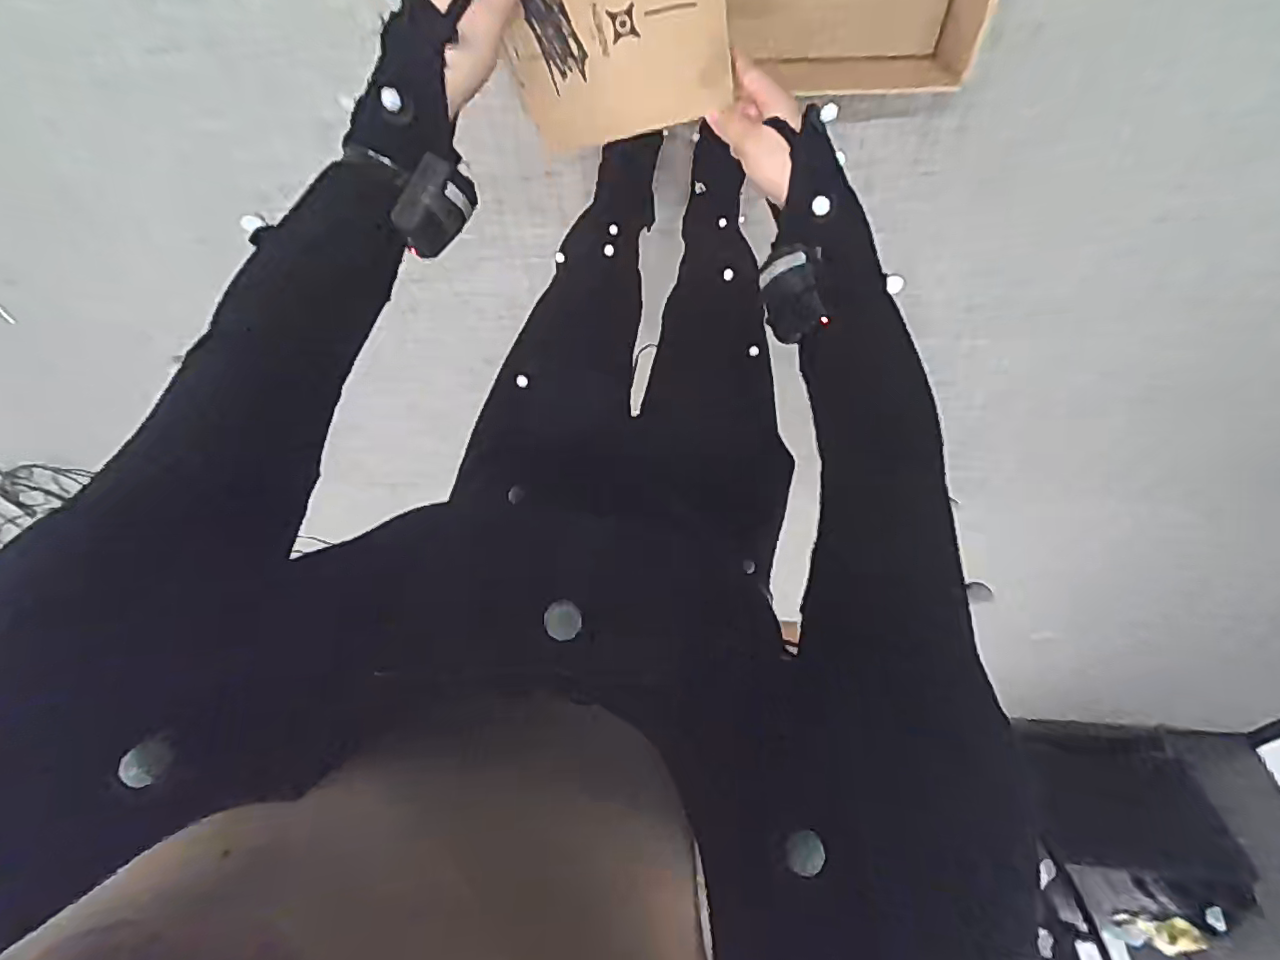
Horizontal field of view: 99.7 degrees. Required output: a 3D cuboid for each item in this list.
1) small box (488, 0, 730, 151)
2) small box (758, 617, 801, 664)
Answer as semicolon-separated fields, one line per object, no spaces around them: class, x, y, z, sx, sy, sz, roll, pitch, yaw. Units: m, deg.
small box;-0.021;-0.425;0.460;0.179;0.176;0.168;-6;151;12
small box;0.635;0.737;2.478;0.179;0.176;0.168;-1;140;8
